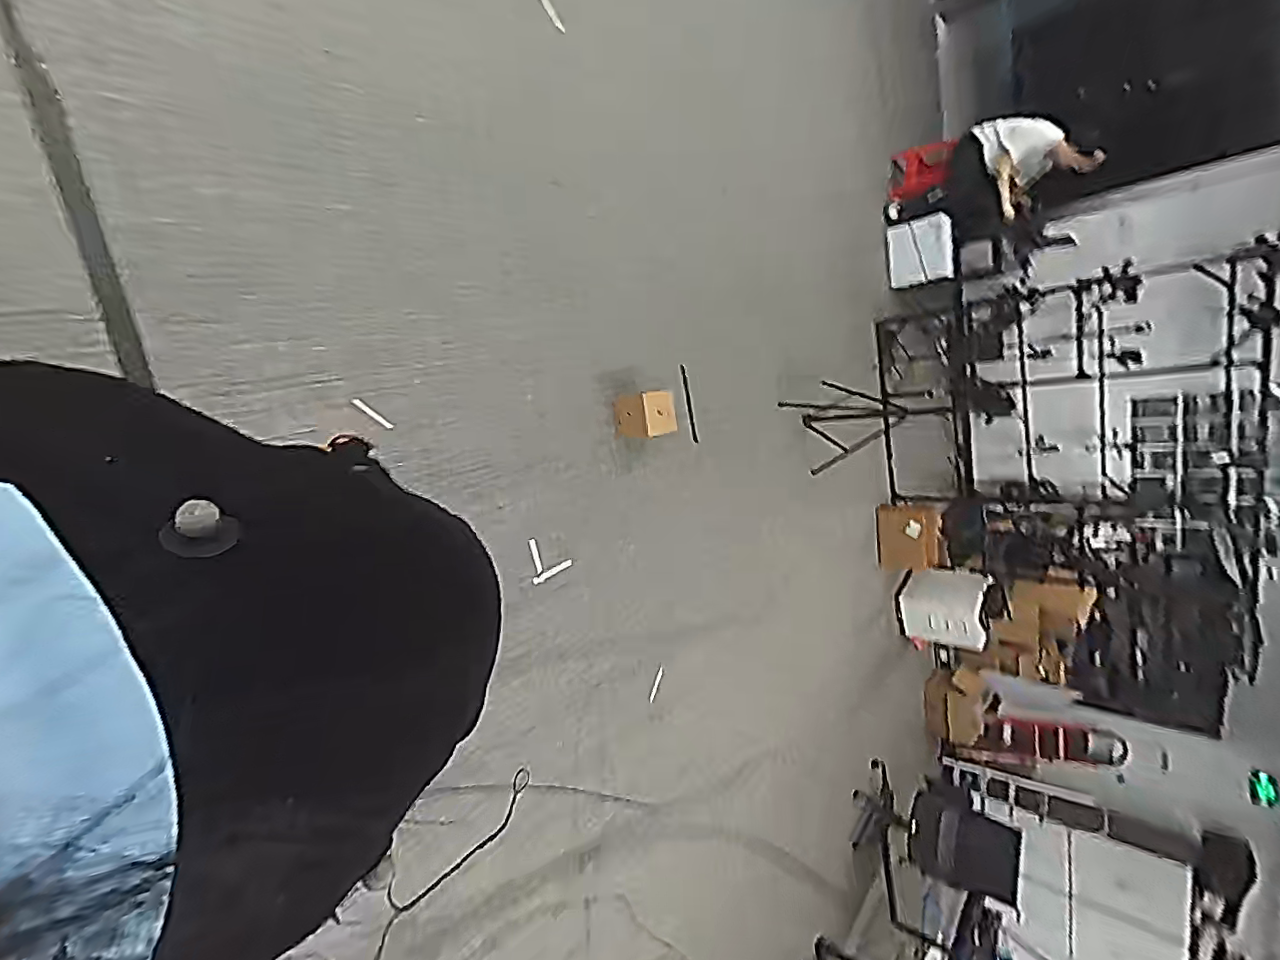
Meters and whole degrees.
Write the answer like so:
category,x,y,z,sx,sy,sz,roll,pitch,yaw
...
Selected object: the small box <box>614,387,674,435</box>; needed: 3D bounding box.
category,x,y,z,sx,sy,sz,roll,pitch,yaw
small box,0.011,-0.272,2.143,0.179,0.176,0.168,-17,103,-46
